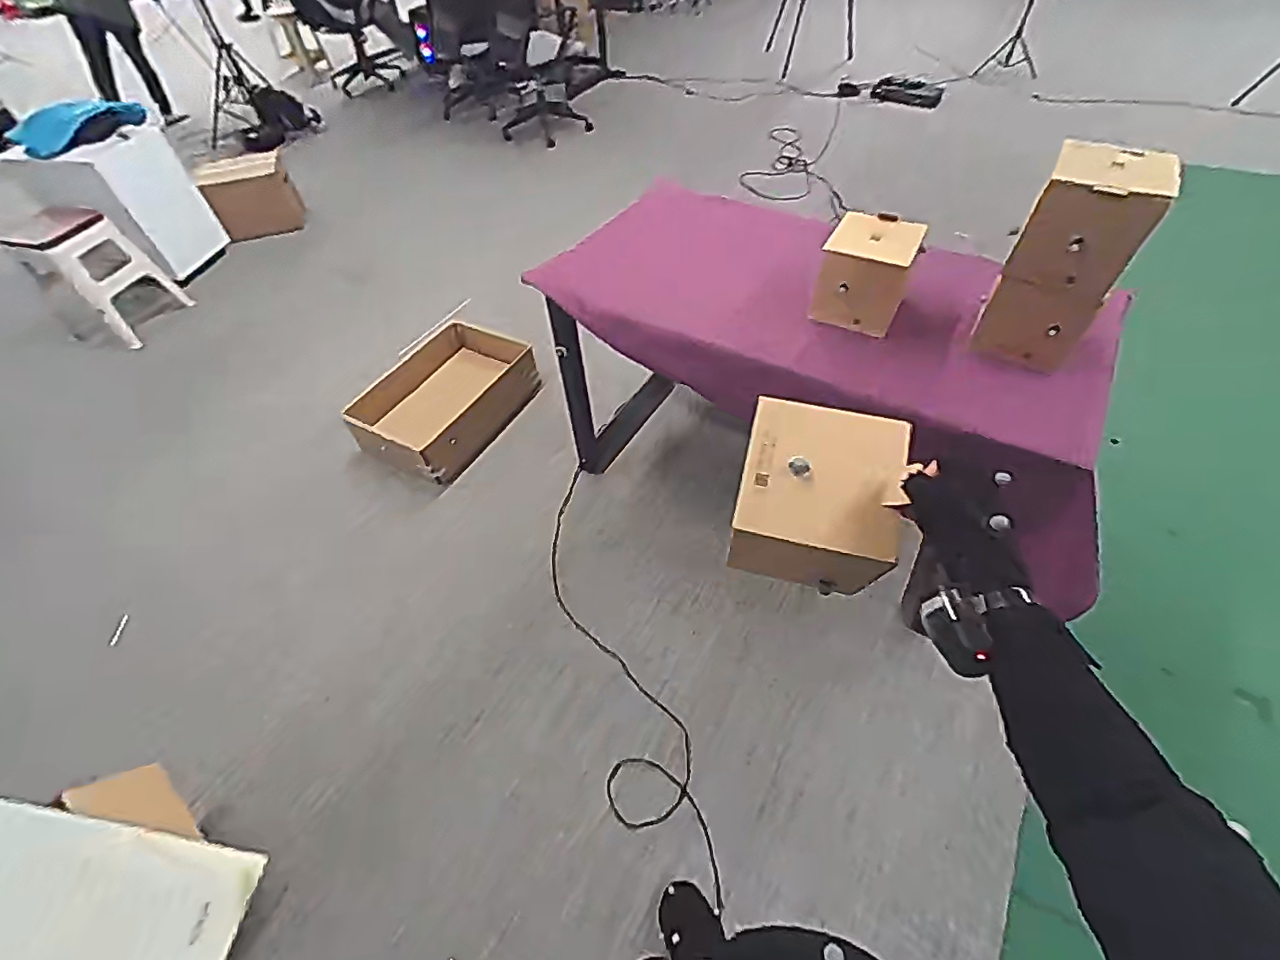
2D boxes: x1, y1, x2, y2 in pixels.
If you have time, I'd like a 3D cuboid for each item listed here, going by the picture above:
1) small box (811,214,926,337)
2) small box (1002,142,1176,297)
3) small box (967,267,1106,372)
[{"bbox_3d":[0.473,-0.430,1.142,0.168,0.176,0.179,22,55,20],"label":"small box"},{"bbox_3d":[0.752,-0.441,0.921,0.168,0.176,0.179,25,58,21],"label":"small box"},{"bbox_3d":[0.766,-0.337,1.047,0.168,0.176,0.179,25,57,21],"label":"small box"}]
